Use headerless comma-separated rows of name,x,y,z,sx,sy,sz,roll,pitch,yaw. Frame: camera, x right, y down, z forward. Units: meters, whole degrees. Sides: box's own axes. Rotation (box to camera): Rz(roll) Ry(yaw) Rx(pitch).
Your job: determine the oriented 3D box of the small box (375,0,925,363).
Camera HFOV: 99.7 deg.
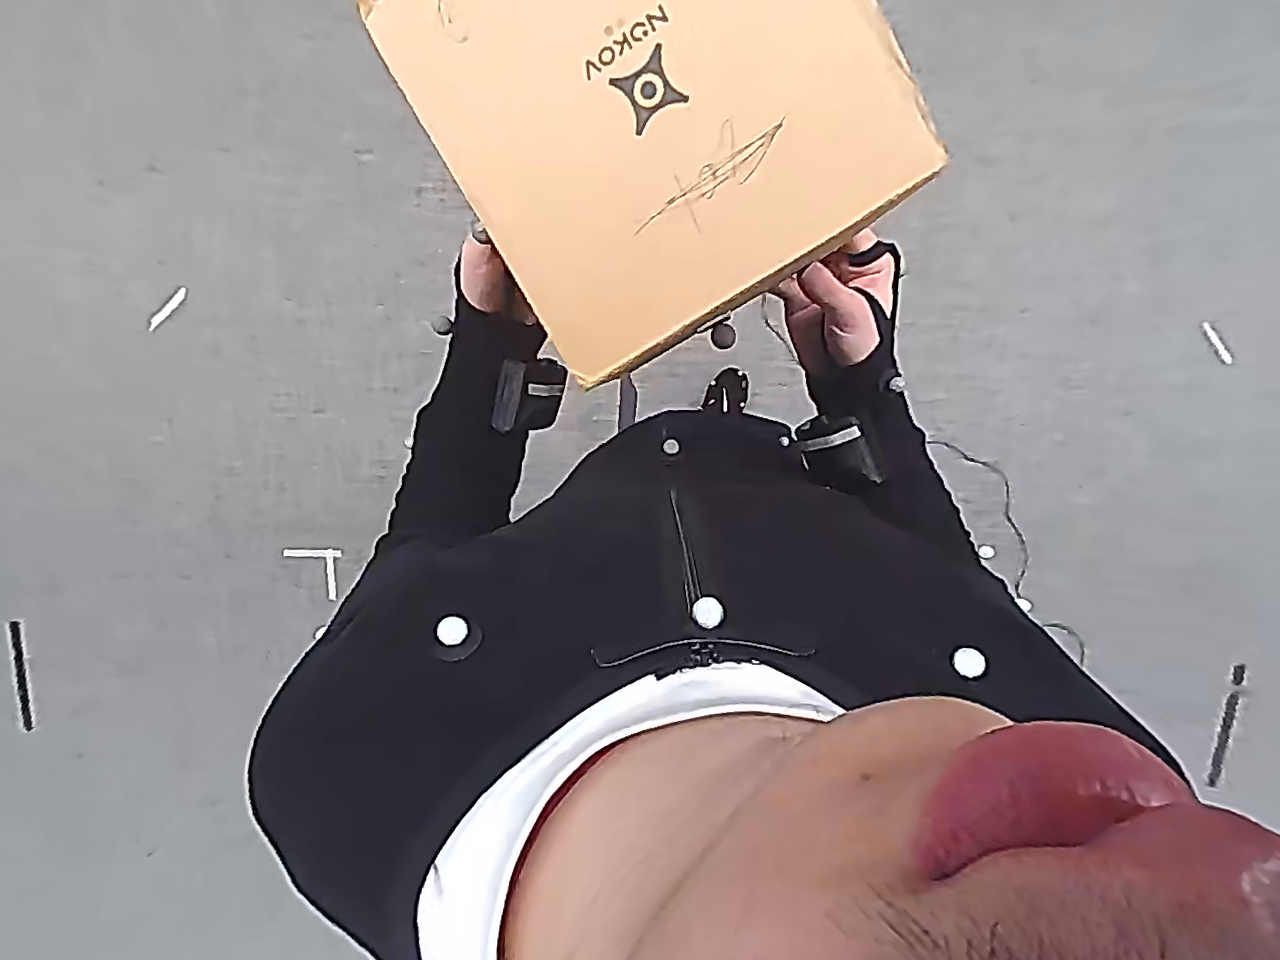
small box,0.009,-0.178,0.294,0.168,0.176,0.179,-29,99,11
